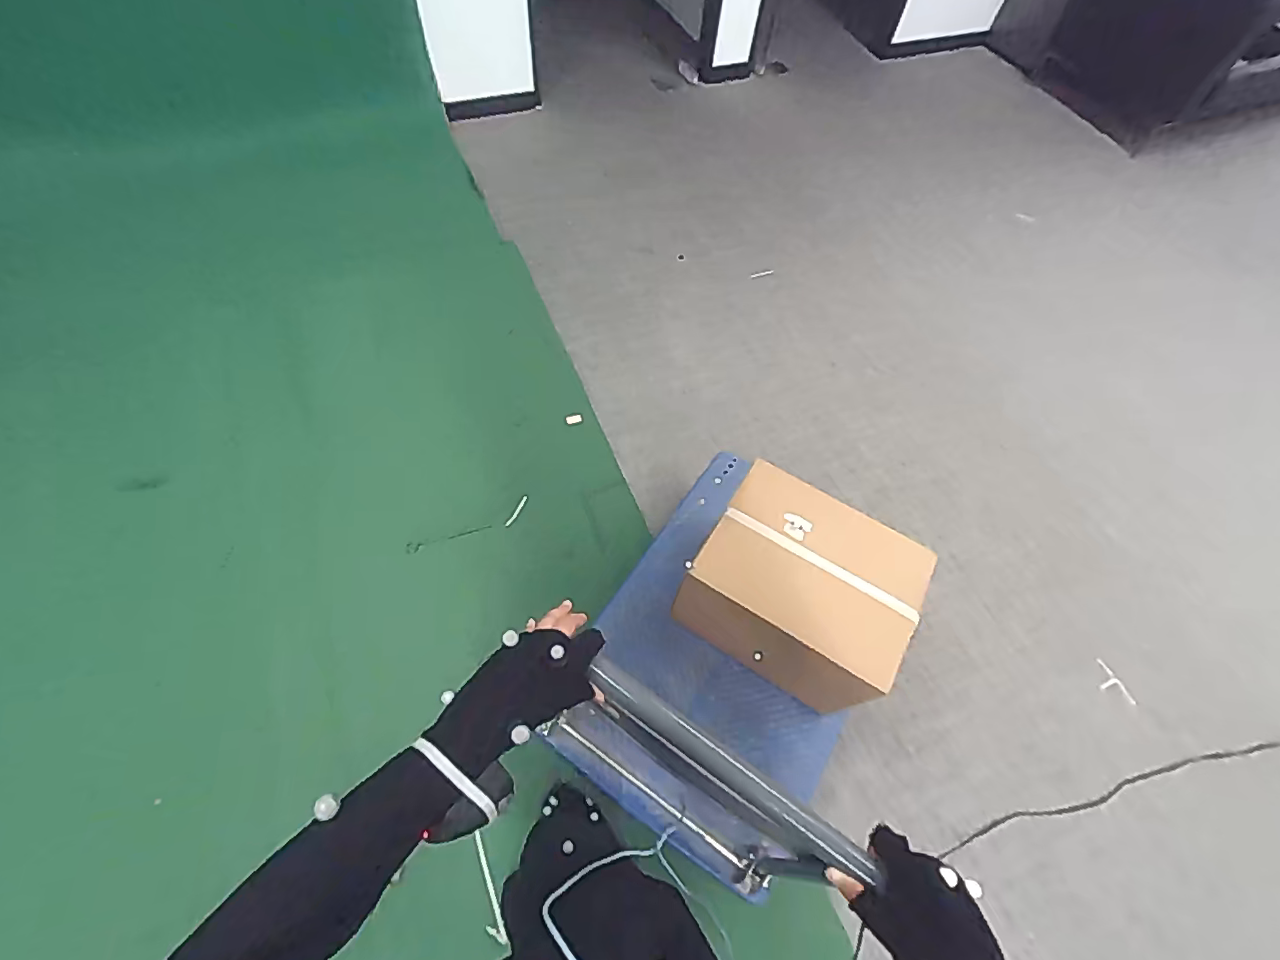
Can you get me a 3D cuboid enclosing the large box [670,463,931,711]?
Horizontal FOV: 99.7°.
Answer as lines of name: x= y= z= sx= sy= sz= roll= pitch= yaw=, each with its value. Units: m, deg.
large box: x=0.322 y=0.238 z=1.168 sx=0.408 sy=0.320 sz=0.320 roll=30 pitch=62 yaw=14
